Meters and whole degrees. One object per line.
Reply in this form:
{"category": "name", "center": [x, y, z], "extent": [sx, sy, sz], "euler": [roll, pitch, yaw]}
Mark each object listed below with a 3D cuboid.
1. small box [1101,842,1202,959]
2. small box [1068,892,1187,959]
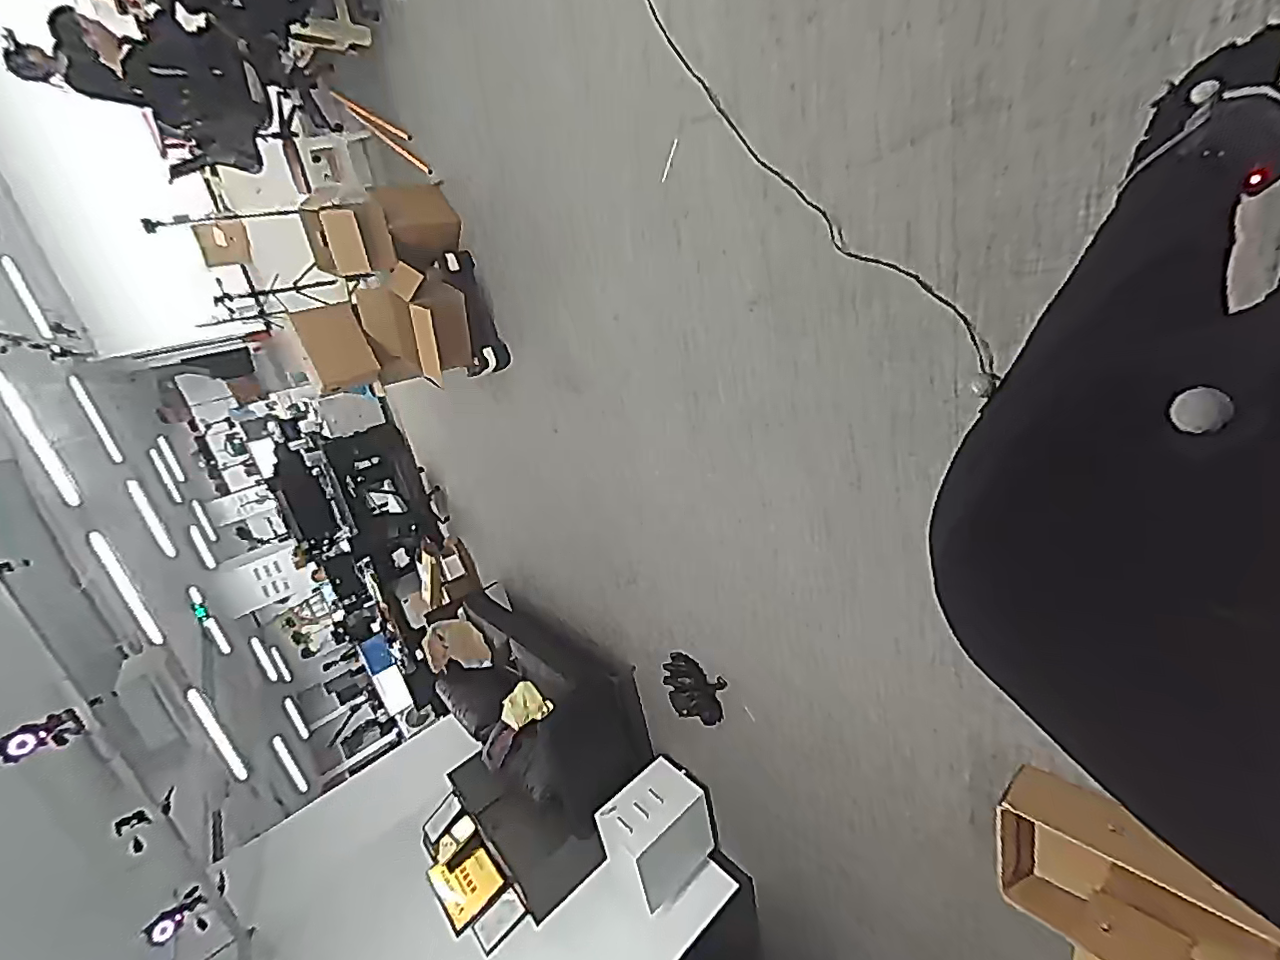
{"category": "small box", "center": [1.300, 1.082, 1.379], "extent": [0.168, 0.176, 0.179], "euler": [10, 121, 51]}
{"category": "small box", "center": [1.158, 1.134, 1.282], "extent": [0.179, 0.176, 0.168], "euler": [1, 114, 55]}
